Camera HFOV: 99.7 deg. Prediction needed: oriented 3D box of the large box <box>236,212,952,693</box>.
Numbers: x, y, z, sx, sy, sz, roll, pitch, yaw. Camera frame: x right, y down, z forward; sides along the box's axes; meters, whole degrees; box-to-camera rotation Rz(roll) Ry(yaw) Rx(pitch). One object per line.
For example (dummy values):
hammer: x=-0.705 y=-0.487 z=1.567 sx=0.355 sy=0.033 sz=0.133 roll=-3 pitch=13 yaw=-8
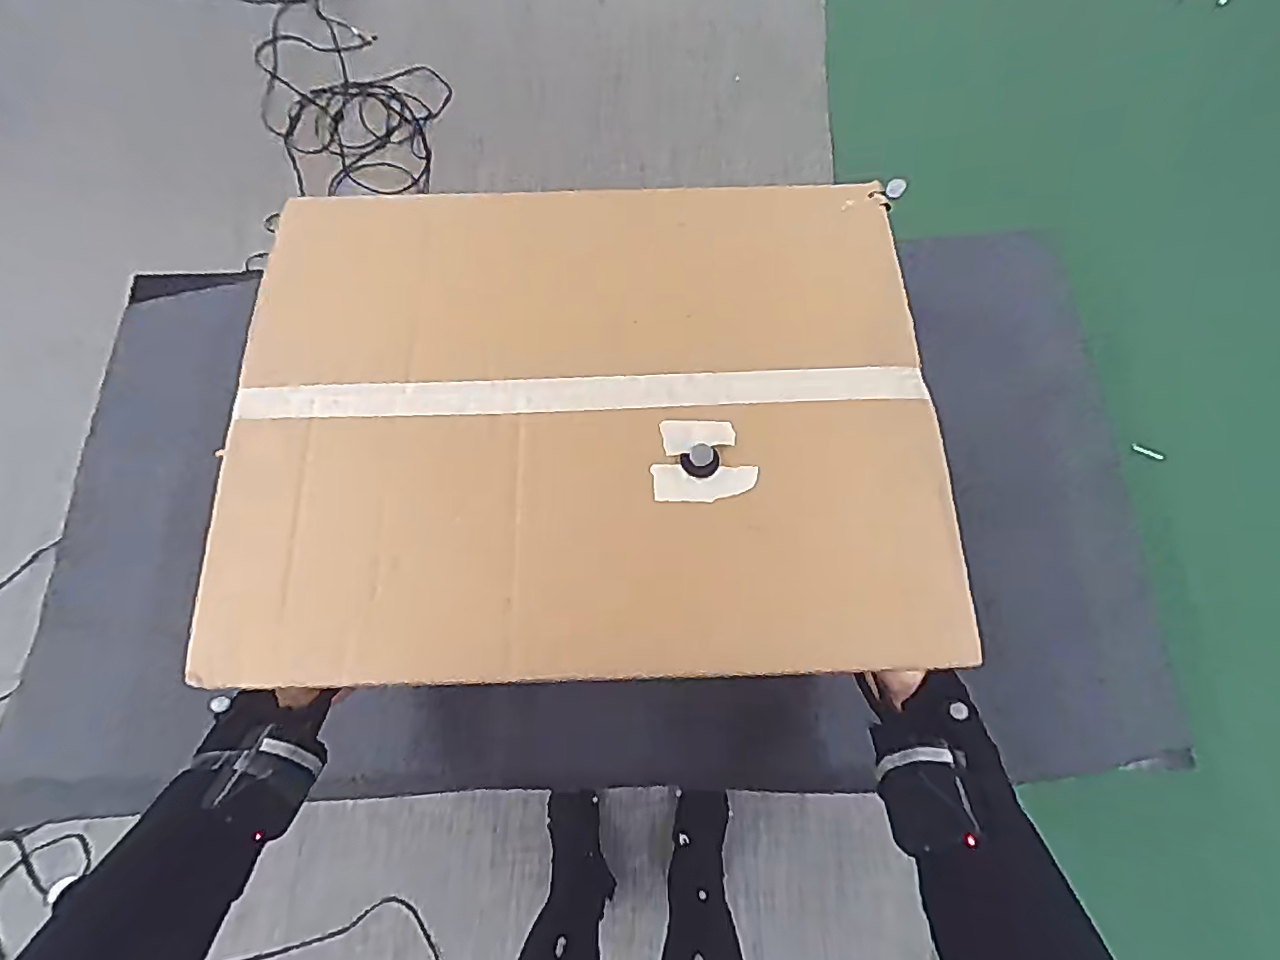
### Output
large box: x=-0.031 y=0.006 z=0.483 sx=0.408 sy=0.320 sz=0.320 roll=-2 pitch=73 yaw=-1
